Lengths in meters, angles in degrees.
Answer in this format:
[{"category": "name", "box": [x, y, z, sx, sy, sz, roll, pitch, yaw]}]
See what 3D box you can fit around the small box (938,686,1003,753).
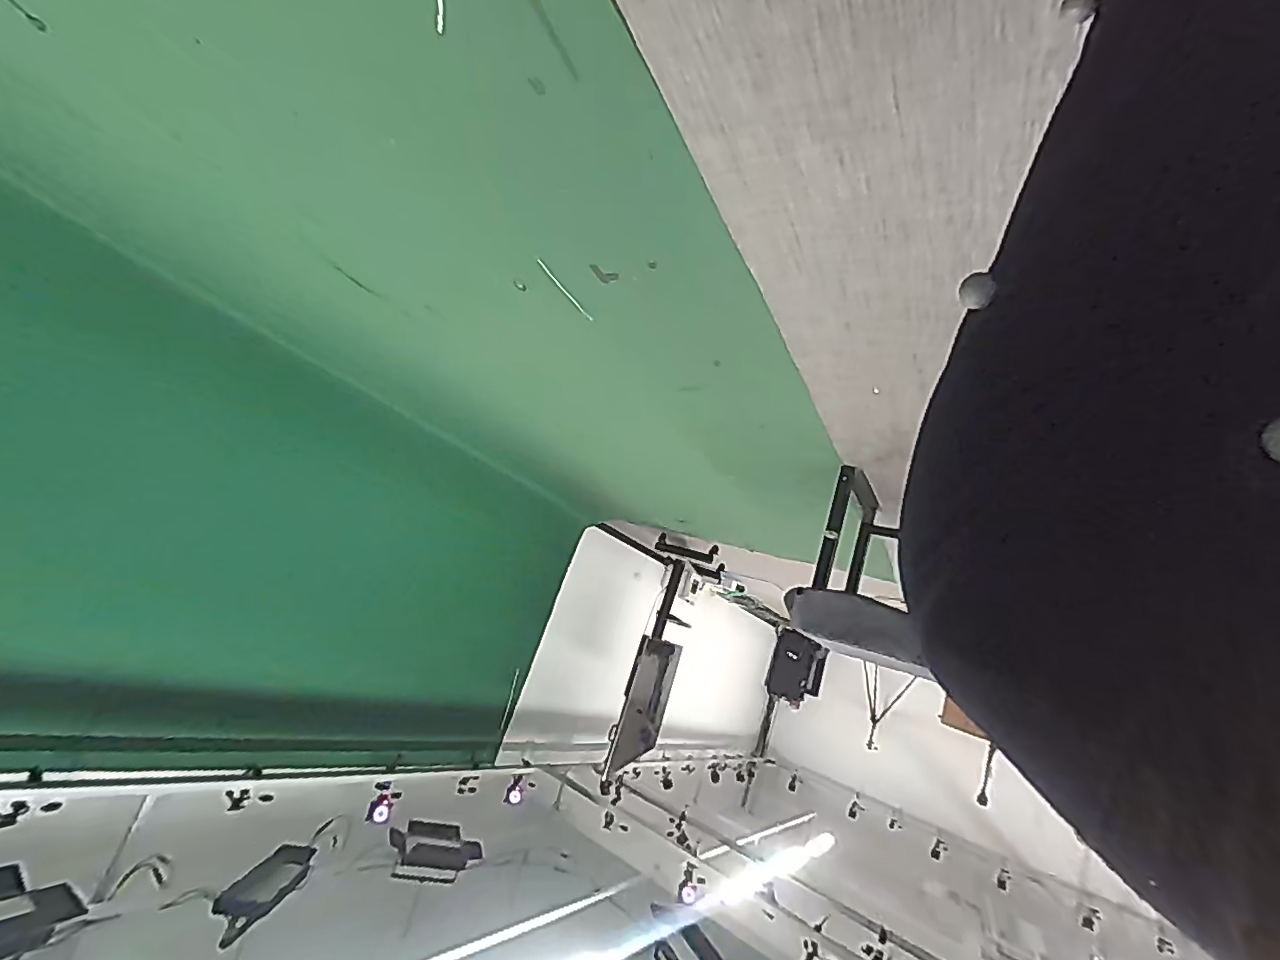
[{"category": "small box", "box": [1.177, 0.845, 1.920, 0.179, 0.176, 0.168, 10, 164, 37]}]
